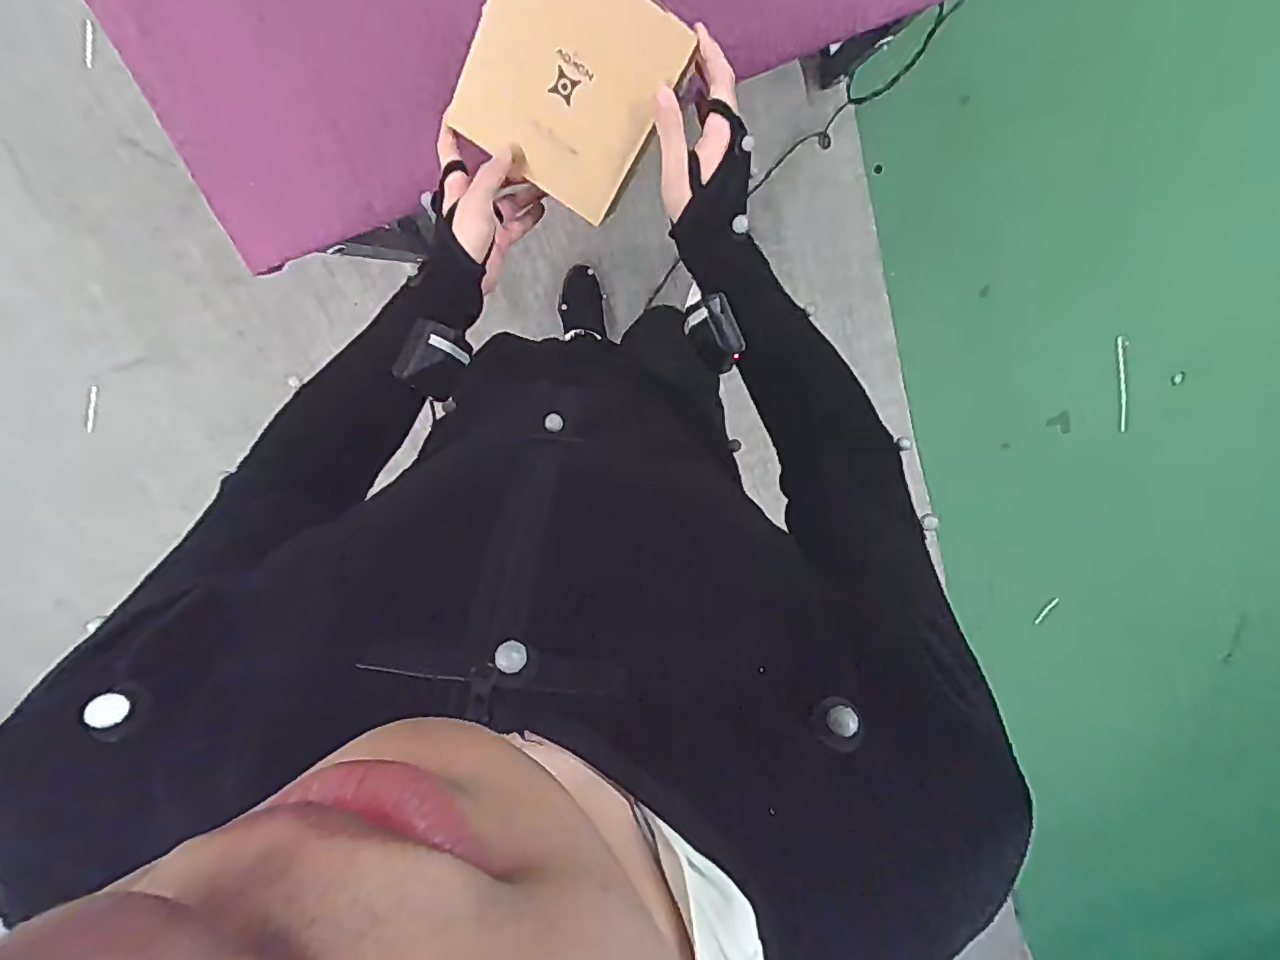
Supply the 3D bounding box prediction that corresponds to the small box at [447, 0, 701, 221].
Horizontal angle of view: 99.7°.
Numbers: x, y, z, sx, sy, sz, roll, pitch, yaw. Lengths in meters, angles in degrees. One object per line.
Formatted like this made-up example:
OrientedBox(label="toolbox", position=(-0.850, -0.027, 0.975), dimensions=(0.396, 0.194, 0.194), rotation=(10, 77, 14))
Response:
OrientedBox(label="small box", position=(-0.058, -0.394, 0.536), dimensions=(0.168, 0.176, 0.179), rotation=(30, 121, -14))
